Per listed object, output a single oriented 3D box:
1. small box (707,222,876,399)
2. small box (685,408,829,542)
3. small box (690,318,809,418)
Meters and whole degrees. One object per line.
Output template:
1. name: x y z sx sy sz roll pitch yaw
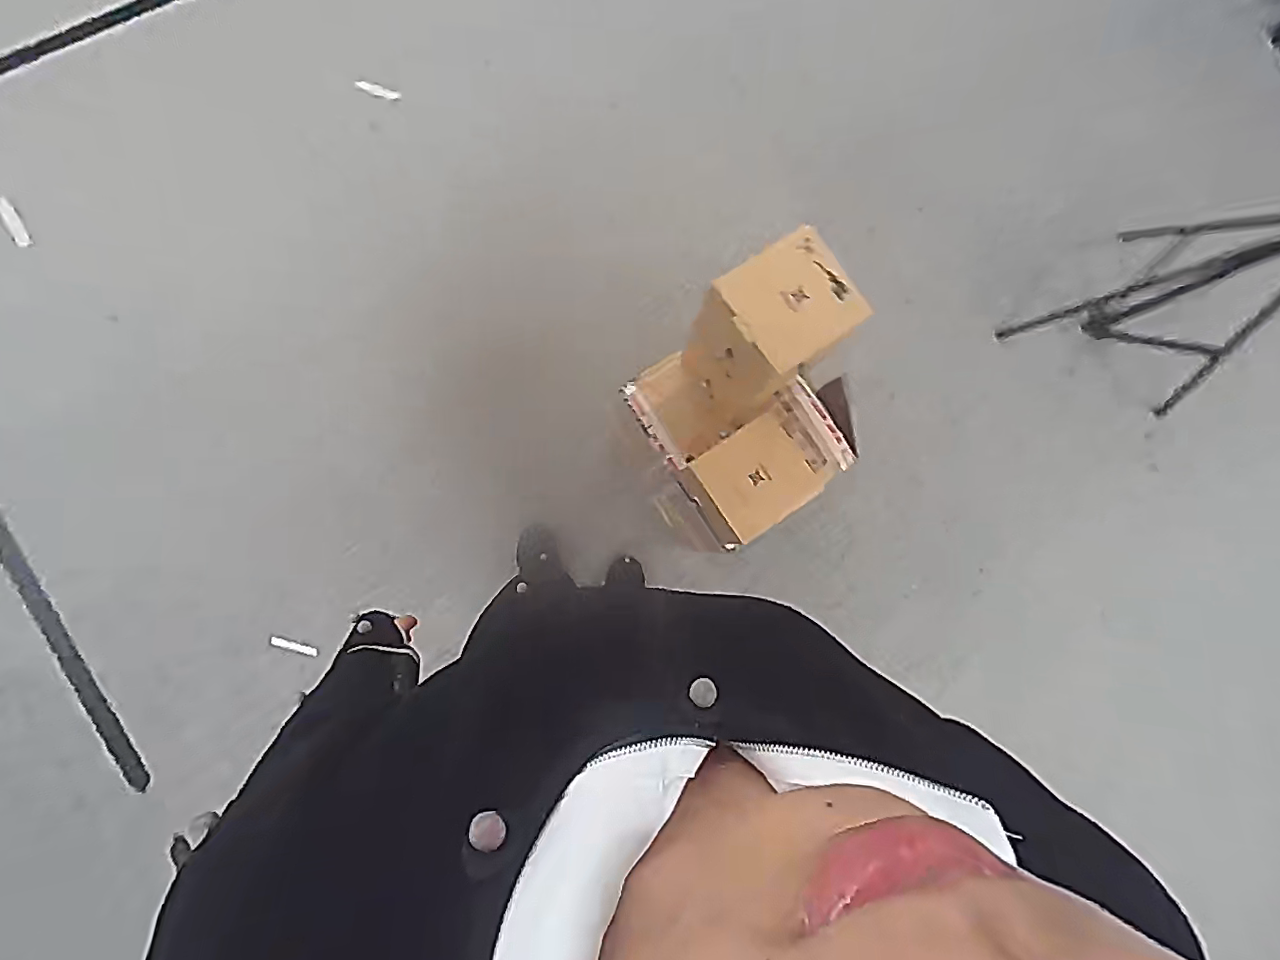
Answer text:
1. small box: 0.219 -0.251 0.843 0.179 0.176 0.168 -33 86 -6
2. small box: 0.200 -0.003 0.984 0.179 0.176 0.168 -34 87 -6
3. small box: 0.213 -0.241 1.008 0.179 0.176 0.168 -34 86 -6
